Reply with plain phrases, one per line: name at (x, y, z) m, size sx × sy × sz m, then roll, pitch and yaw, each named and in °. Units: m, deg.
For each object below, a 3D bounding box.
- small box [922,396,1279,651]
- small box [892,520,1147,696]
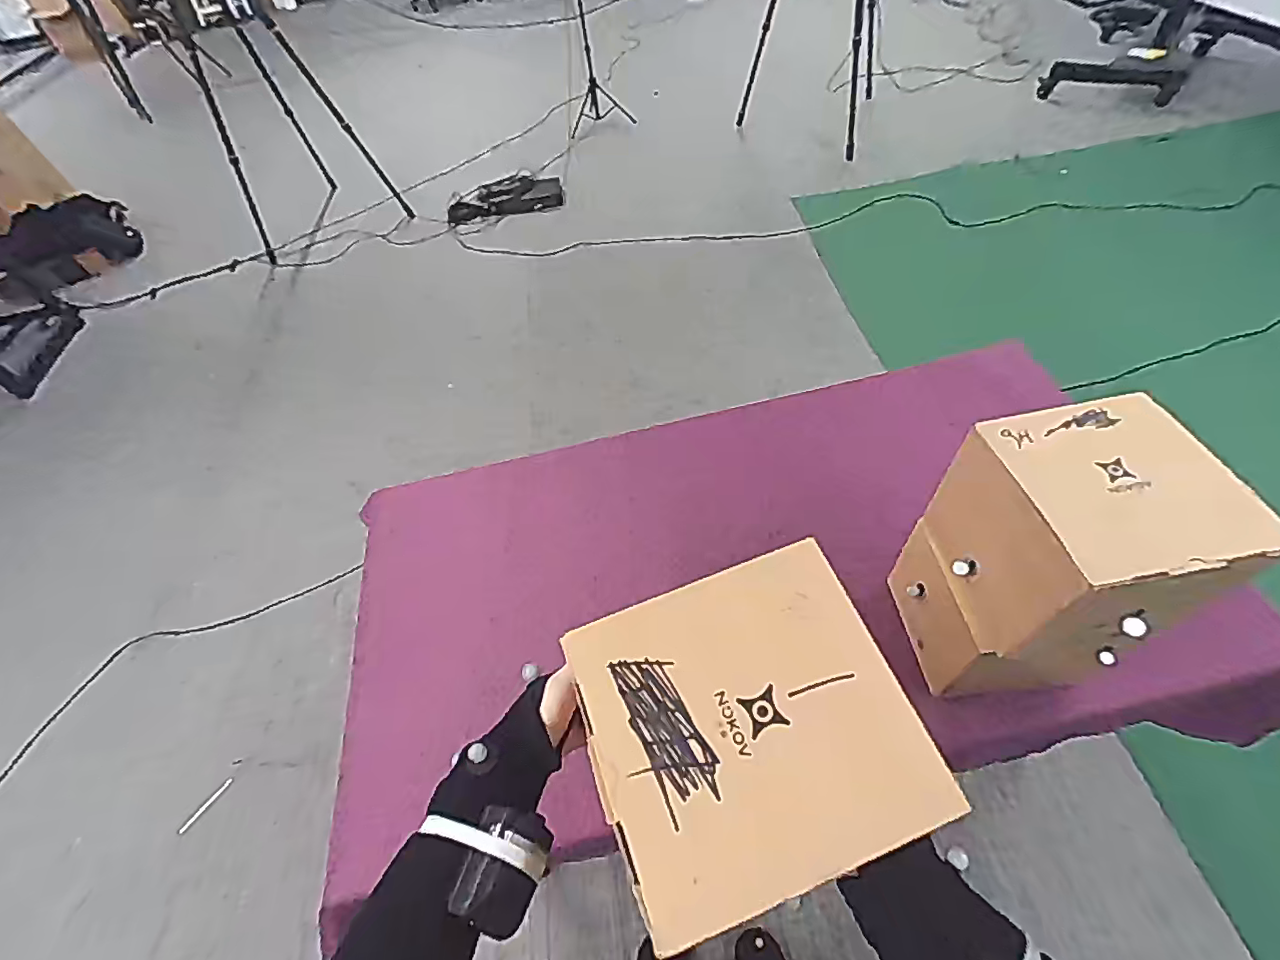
small box at (0.408, 0.051, 0.521) m, size 0.168 × 0.176 × 0.179 m, roll -10°, pitch 53°, yaw 0°
small box at (0.425, 0.149, 0.652) m, size 0.179 × 0.176 × 0.168 m, roll -8°, pitch 53°, yaw 3°
